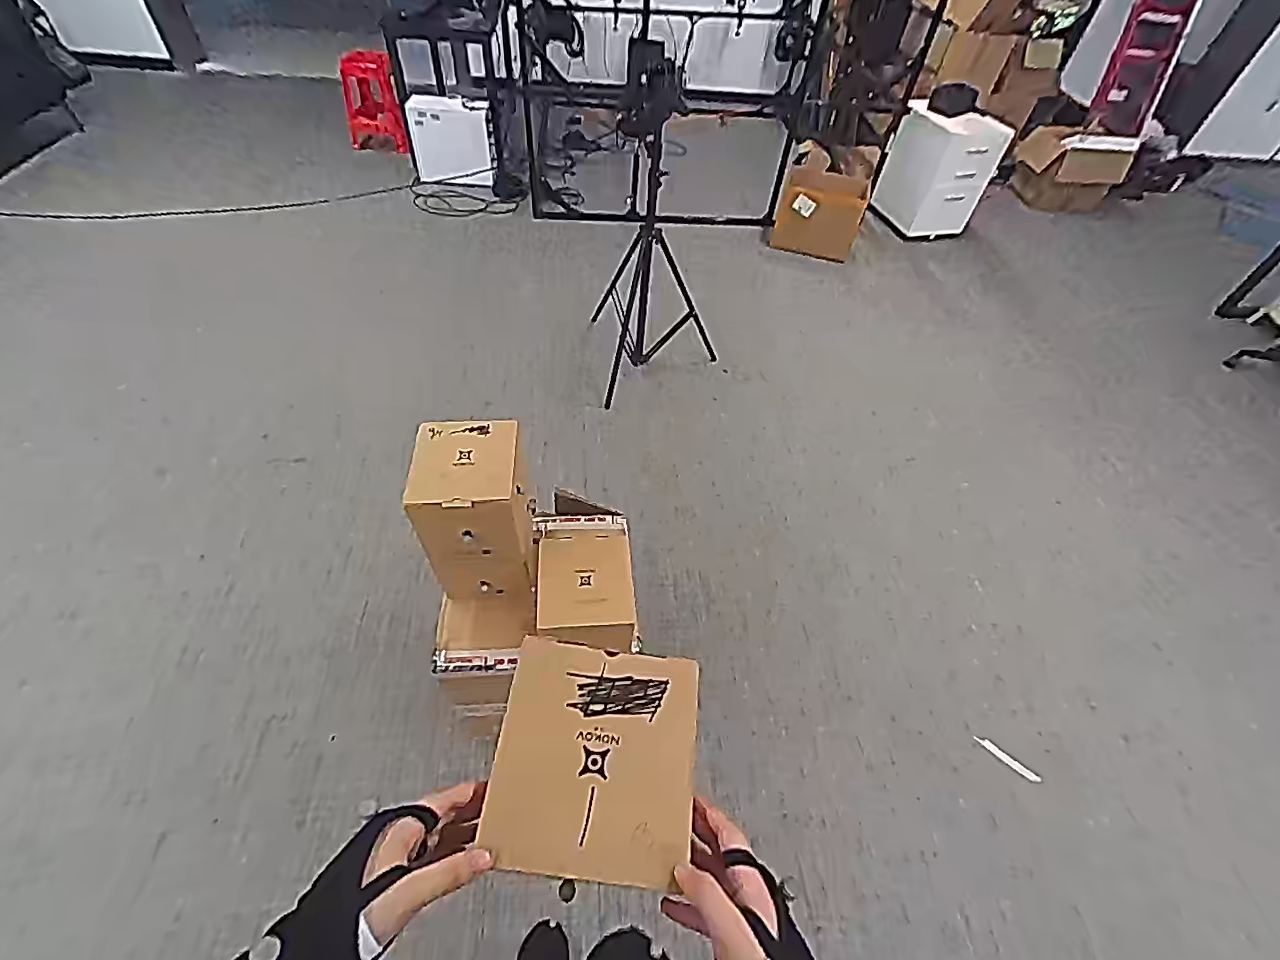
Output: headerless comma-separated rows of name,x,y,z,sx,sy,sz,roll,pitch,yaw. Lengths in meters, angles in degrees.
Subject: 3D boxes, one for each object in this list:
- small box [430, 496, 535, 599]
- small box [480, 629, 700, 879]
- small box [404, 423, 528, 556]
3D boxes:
small box,-0.302,0.117,1.075,0.168,0.176,0.179,-4,53,-6
small box,-0.042,0.266,0.521,0.168,0.176,0.179,8,54,-1
small box,-0.288,0.023,0.941,0.168,0.176,0.179,-2,53,-5
